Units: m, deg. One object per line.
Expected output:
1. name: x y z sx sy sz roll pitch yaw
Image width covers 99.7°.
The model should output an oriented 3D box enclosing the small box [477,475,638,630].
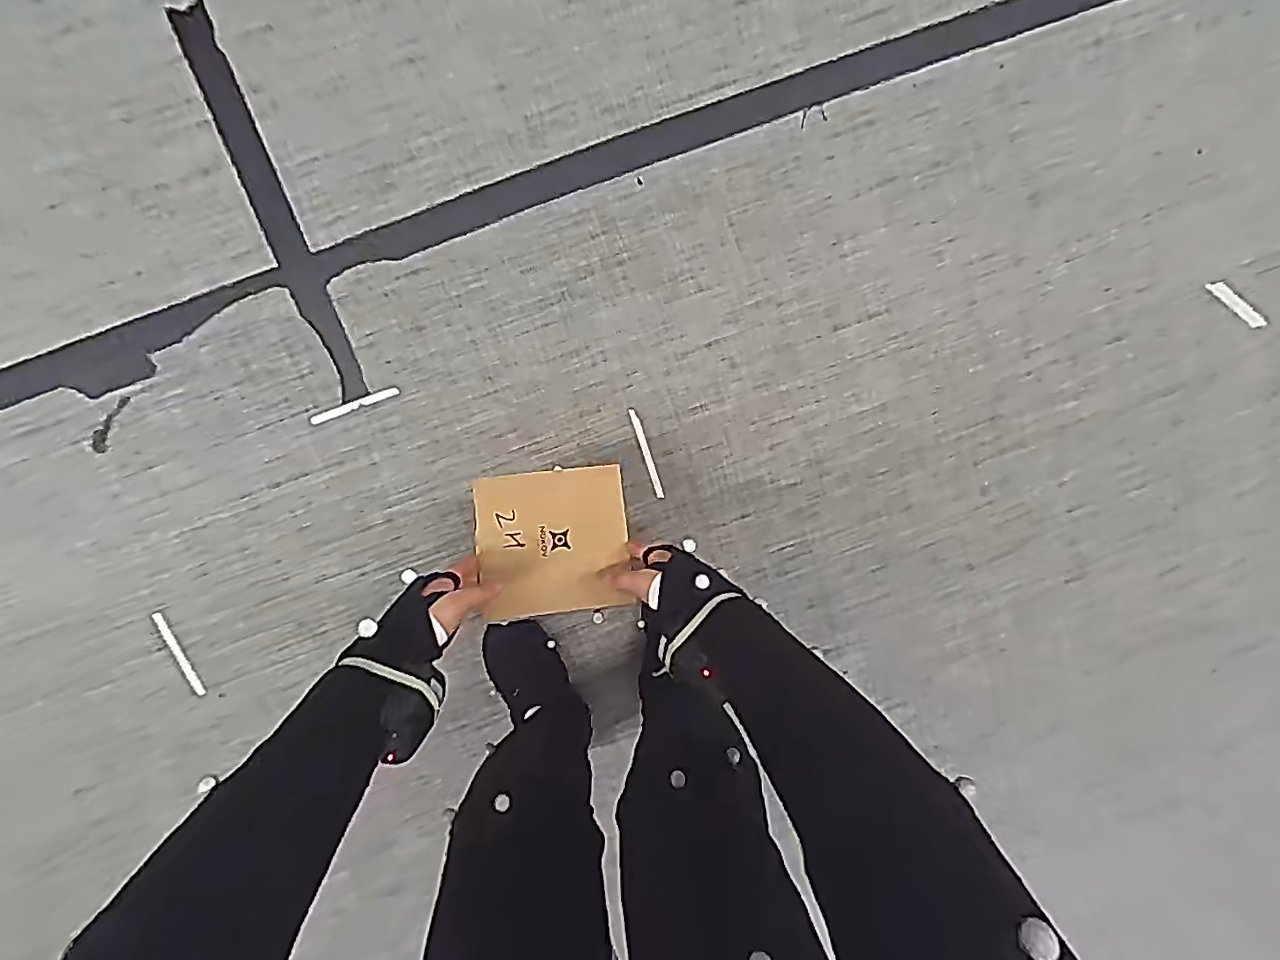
1. small box: -0.103 0.100 0.696 0.179 0.176 0.168 -6 74 -5
